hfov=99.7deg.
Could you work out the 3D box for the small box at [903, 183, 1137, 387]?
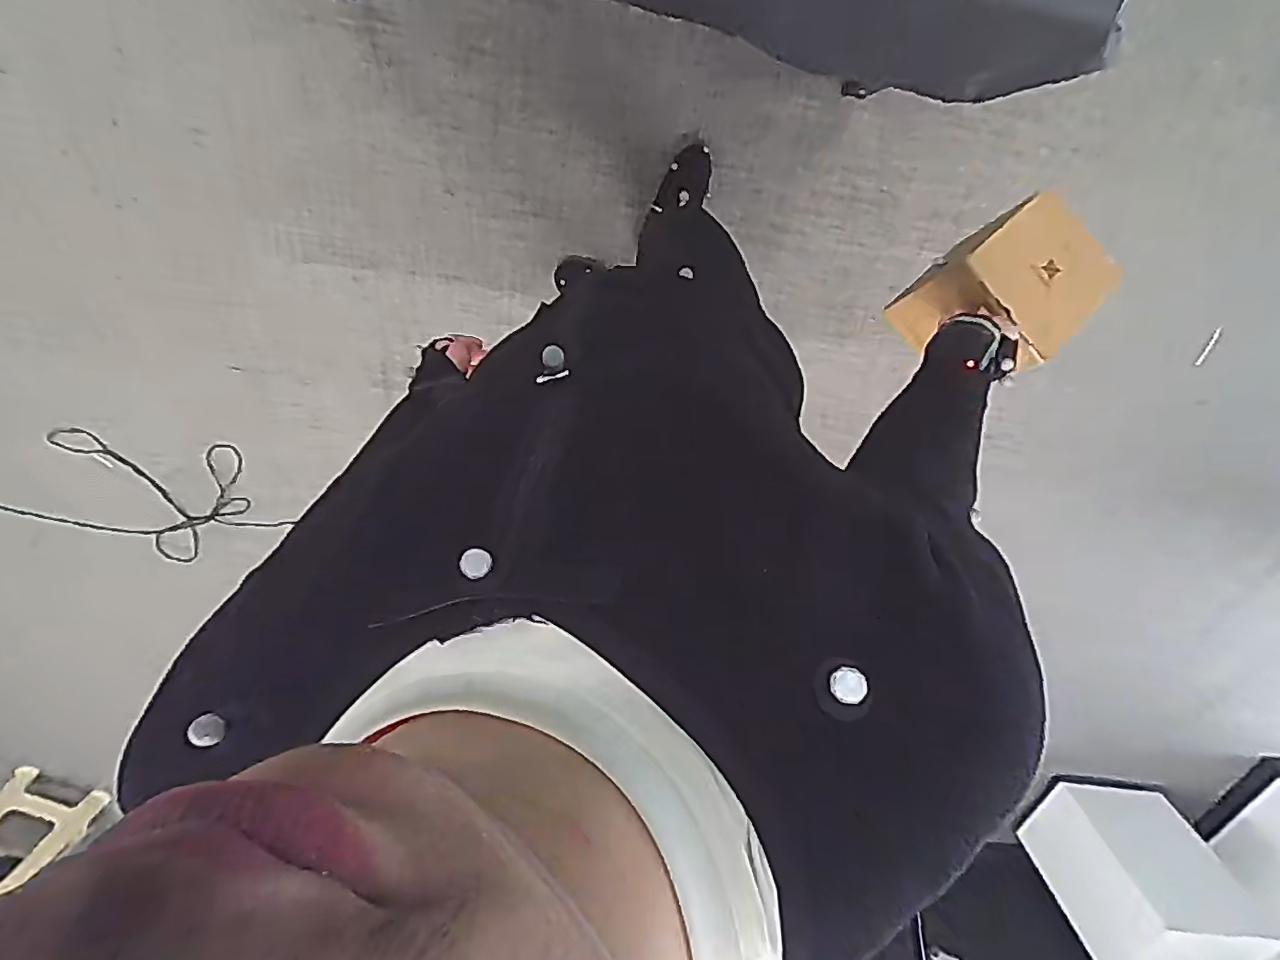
[{"bbox_3d":[0.497,-0.249,0.738,0.179,0.176,0.168,-39,95,-11],"label":"small box"}]
